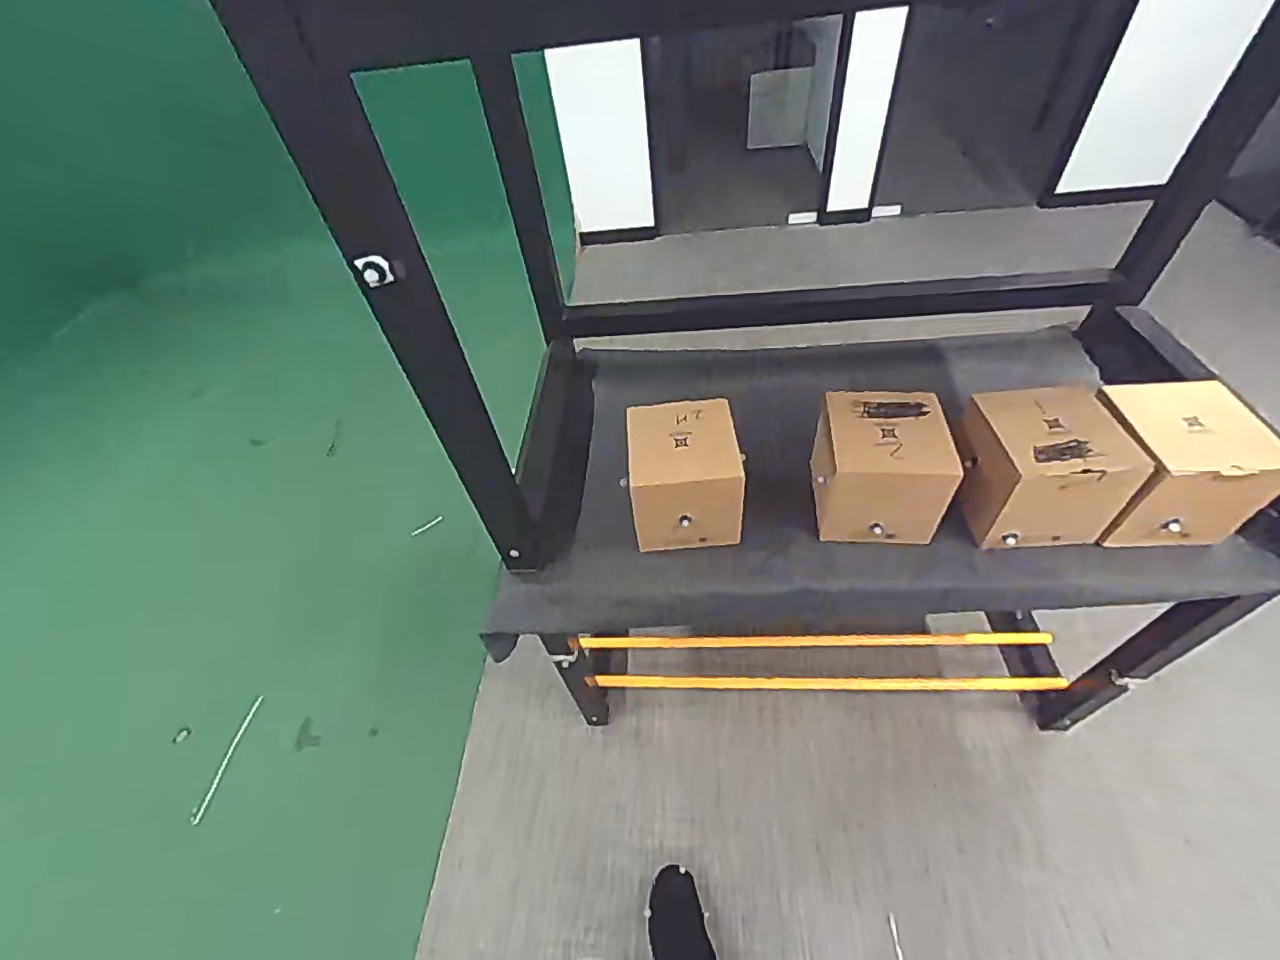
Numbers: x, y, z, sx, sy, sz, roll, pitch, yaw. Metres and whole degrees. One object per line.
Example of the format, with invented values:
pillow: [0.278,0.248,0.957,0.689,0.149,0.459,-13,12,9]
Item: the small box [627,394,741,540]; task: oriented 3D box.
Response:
small box: [0.069,-0.014,0.877,0.168,0.176,0.179,-5,48,3]
